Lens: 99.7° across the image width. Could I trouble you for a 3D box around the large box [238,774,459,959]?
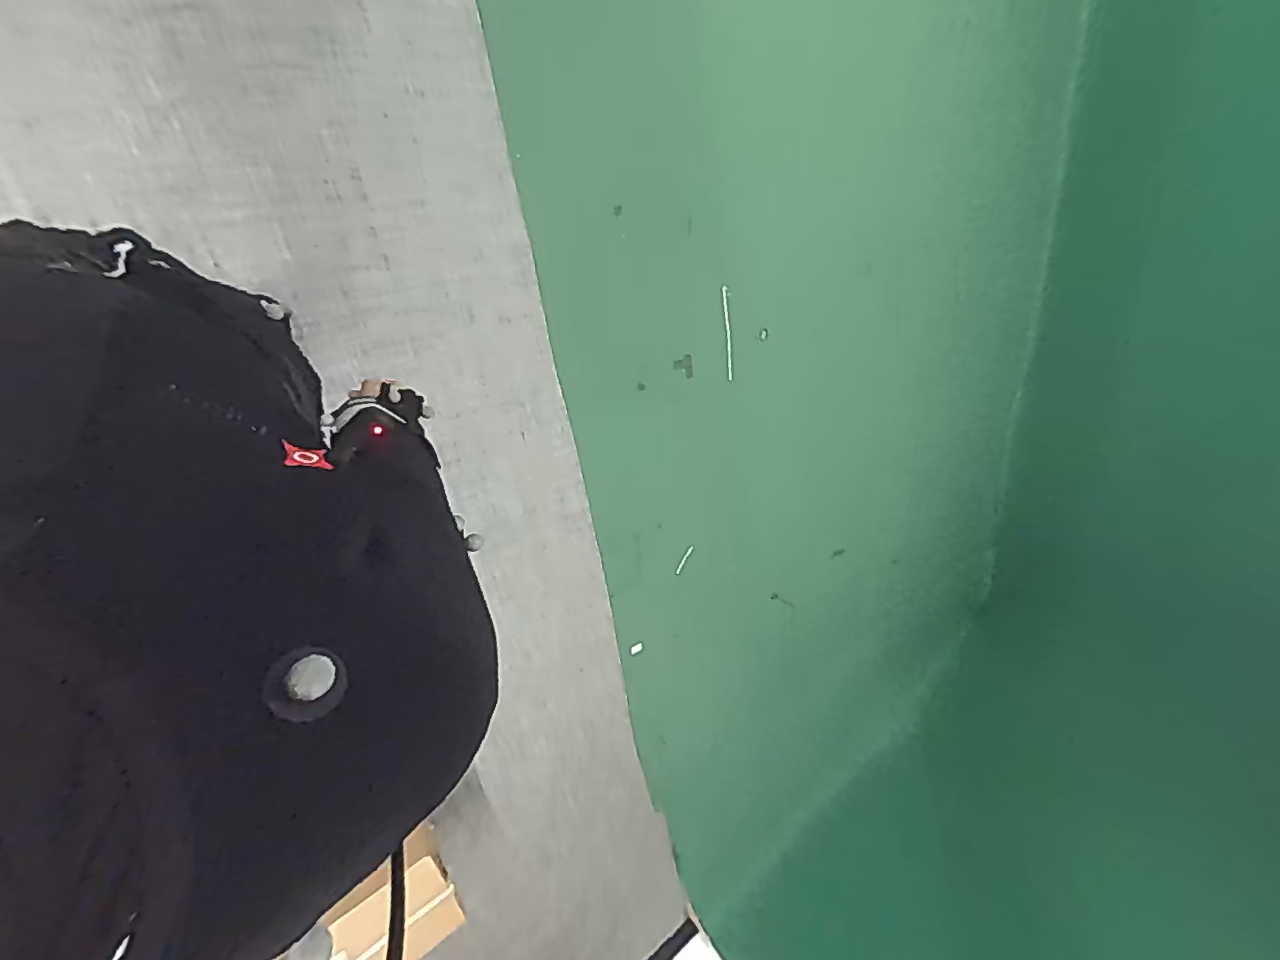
[{"bbox_3d":[-0.750,1.083,1.409,0.408,0.320,0.320,-25,119,-28],"label":"large box"}]
